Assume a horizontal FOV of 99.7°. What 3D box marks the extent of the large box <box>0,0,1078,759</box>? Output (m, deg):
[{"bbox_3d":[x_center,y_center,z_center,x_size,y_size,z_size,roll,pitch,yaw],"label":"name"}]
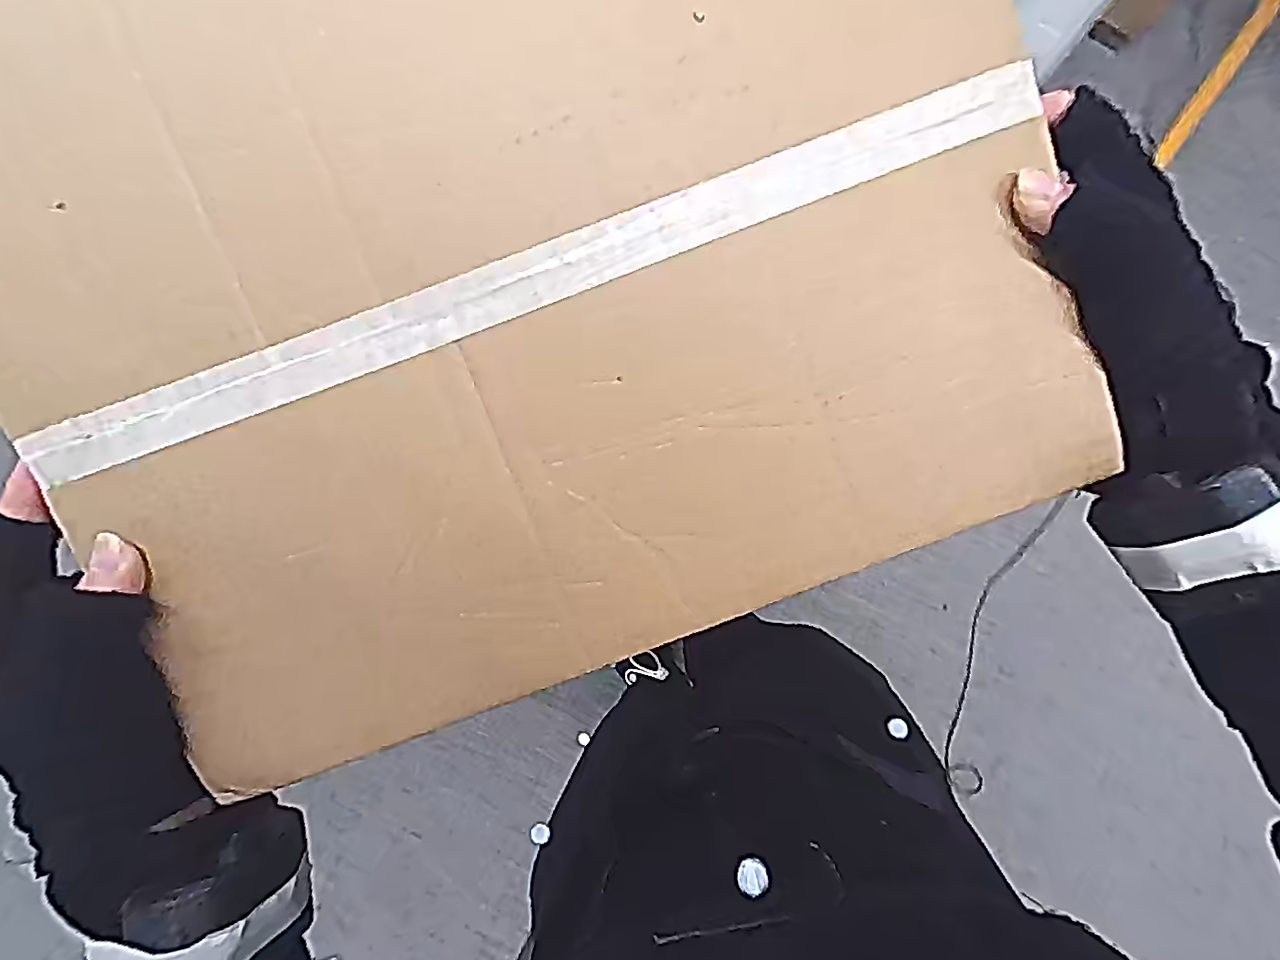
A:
[{"bbox_3d":[-0.042,-0.104,0.367,0.408,0.320,0.320,-19,98,0],"label":"large box"}]
